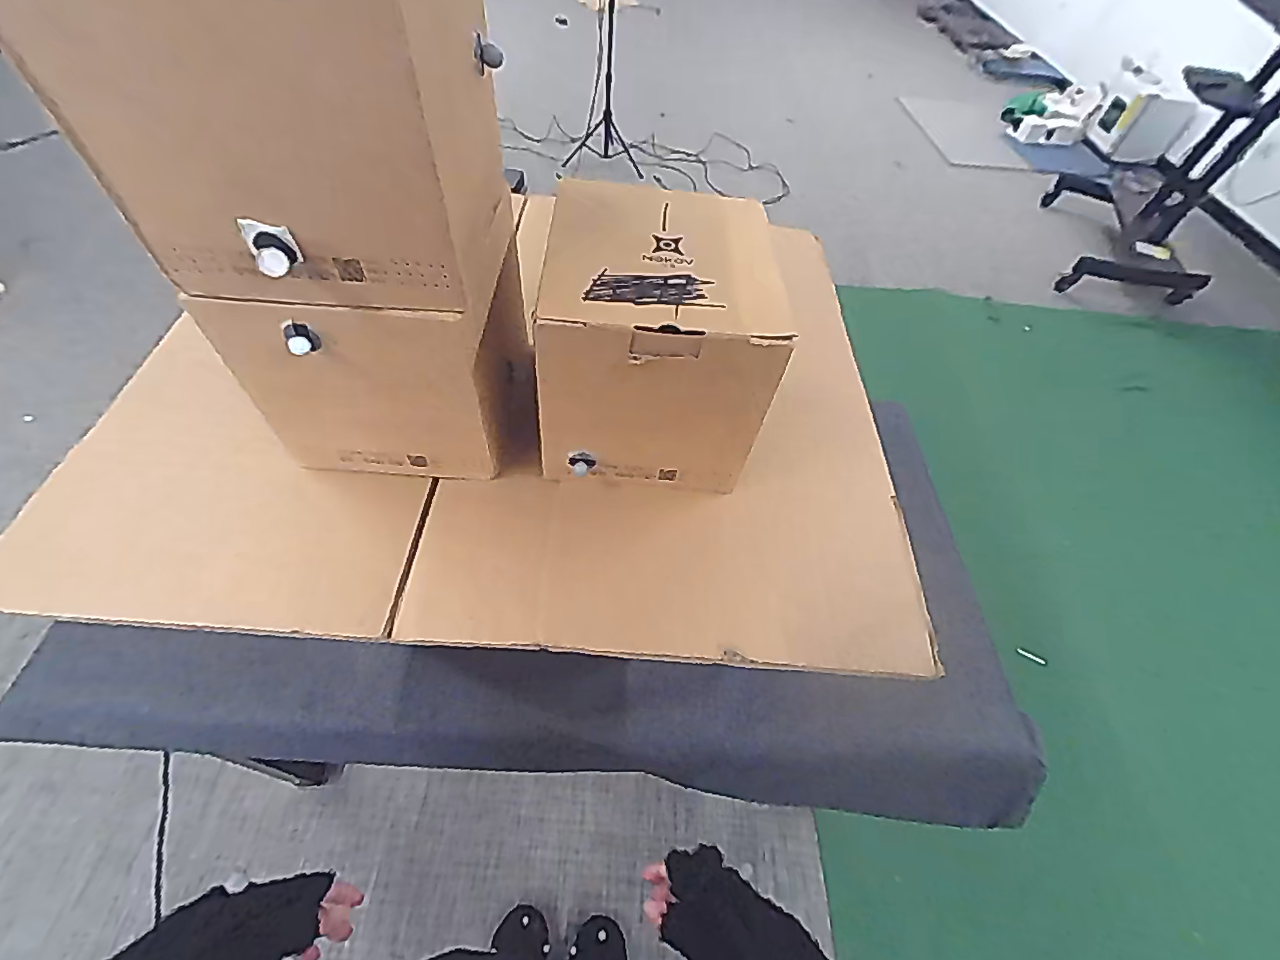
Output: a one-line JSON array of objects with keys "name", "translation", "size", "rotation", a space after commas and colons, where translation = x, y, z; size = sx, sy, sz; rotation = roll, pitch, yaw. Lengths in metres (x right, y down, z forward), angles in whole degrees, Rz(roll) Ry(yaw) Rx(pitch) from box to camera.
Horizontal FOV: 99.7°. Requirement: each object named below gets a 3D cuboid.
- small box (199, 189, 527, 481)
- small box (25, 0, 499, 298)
[{"name": "small box", "translation": [-0.192, -0.122, 0.446], "size": [0.168, 0.176, 0.179], "rotation": [4, 53, -1]}, {"name": "small box", "translation": [-0.179, -0.229, 0.304], "size": [0.168, 0.176, 0.179], "rotation": [1, 55, -4]}]
